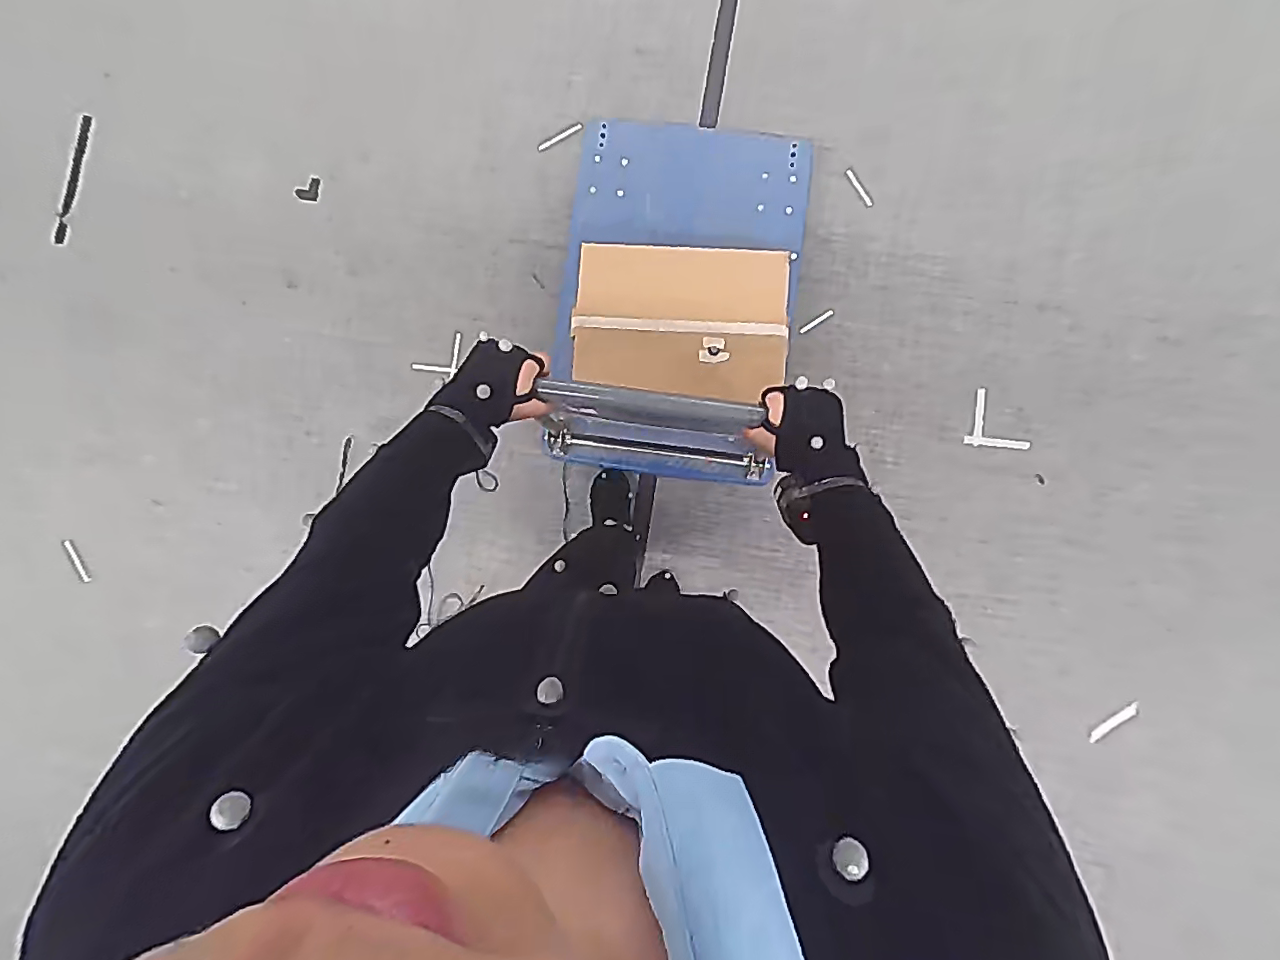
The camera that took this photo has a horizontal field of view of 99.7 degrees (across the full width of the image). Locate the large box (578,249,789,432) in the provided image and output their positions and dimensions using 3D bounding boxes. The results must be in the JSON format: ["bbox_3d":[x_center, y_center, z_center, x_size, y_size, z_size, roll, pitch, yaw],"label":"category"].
[{"bbox_3d":[0.086,-0.284,1.191,0.408,0.320,0.320,3,88,2],"label":"large box"}]
